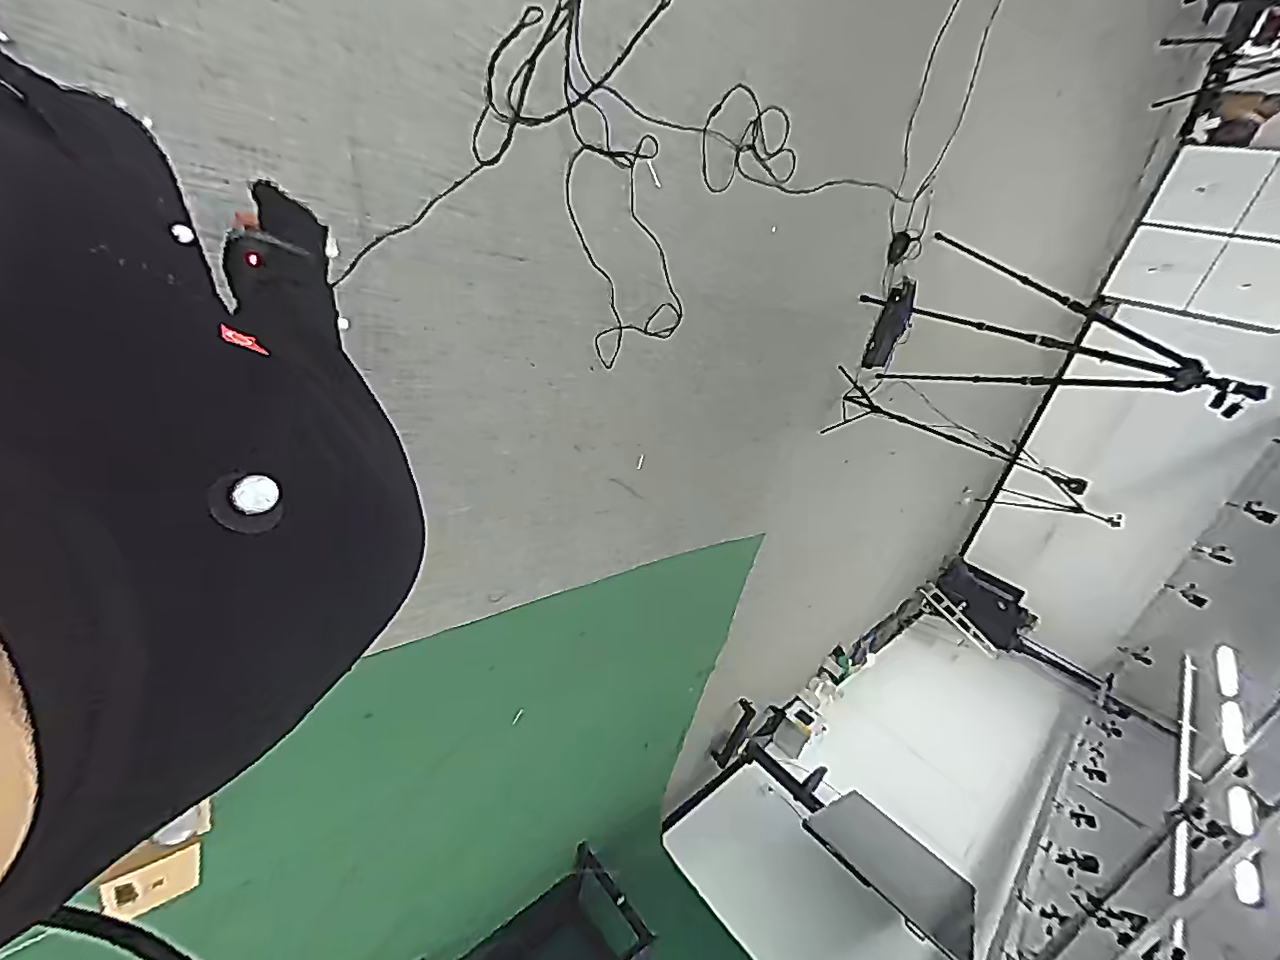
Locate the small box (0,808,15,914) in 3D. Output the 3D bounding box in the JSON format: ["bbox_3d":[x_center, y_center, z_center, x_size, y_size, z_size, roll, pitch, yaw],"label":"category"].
[{"bbox_3d":[-1.525,0.876,1.196,0.168,0.176,0.179,-9,122,-45],"label":"small box"}]

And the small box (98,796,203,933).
[{"bbox_3d":[-1.196,0.925,1.318,0.179,0.176,0.168,-5,119,-49],"label":"small box"}]
